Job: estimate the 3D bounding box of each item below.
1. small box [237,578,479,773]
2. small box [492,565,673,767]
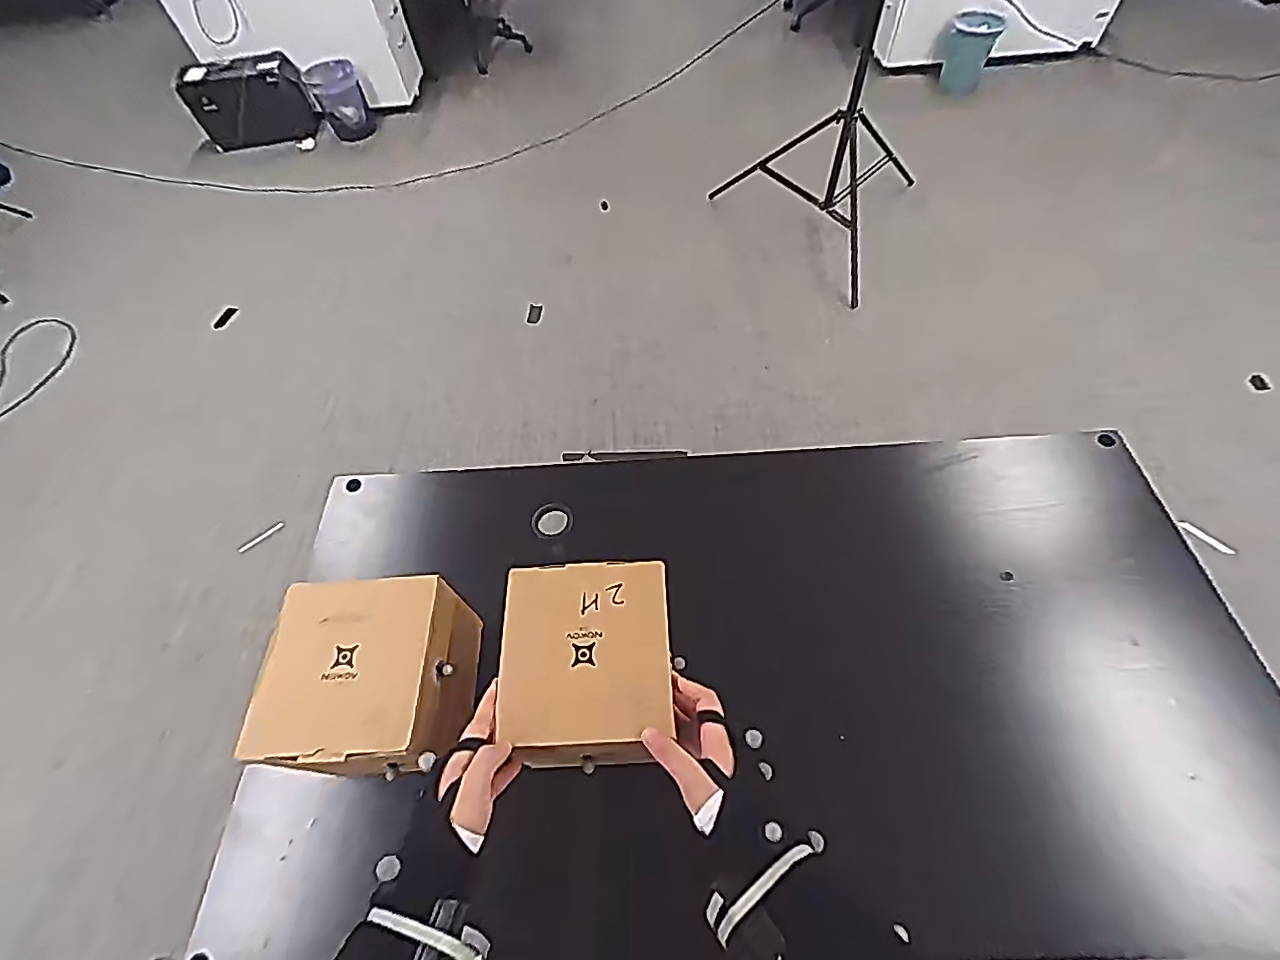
[{"bbox_3d":[-0.291,0.226,0.608,0.168,0.176,0.179,-3,56,0],"label":"small box"},{"bbox_3d":[-0.050,0.210,0.592,0.168,0.176,0.179,-3,56,1],"label":"small box"}]
